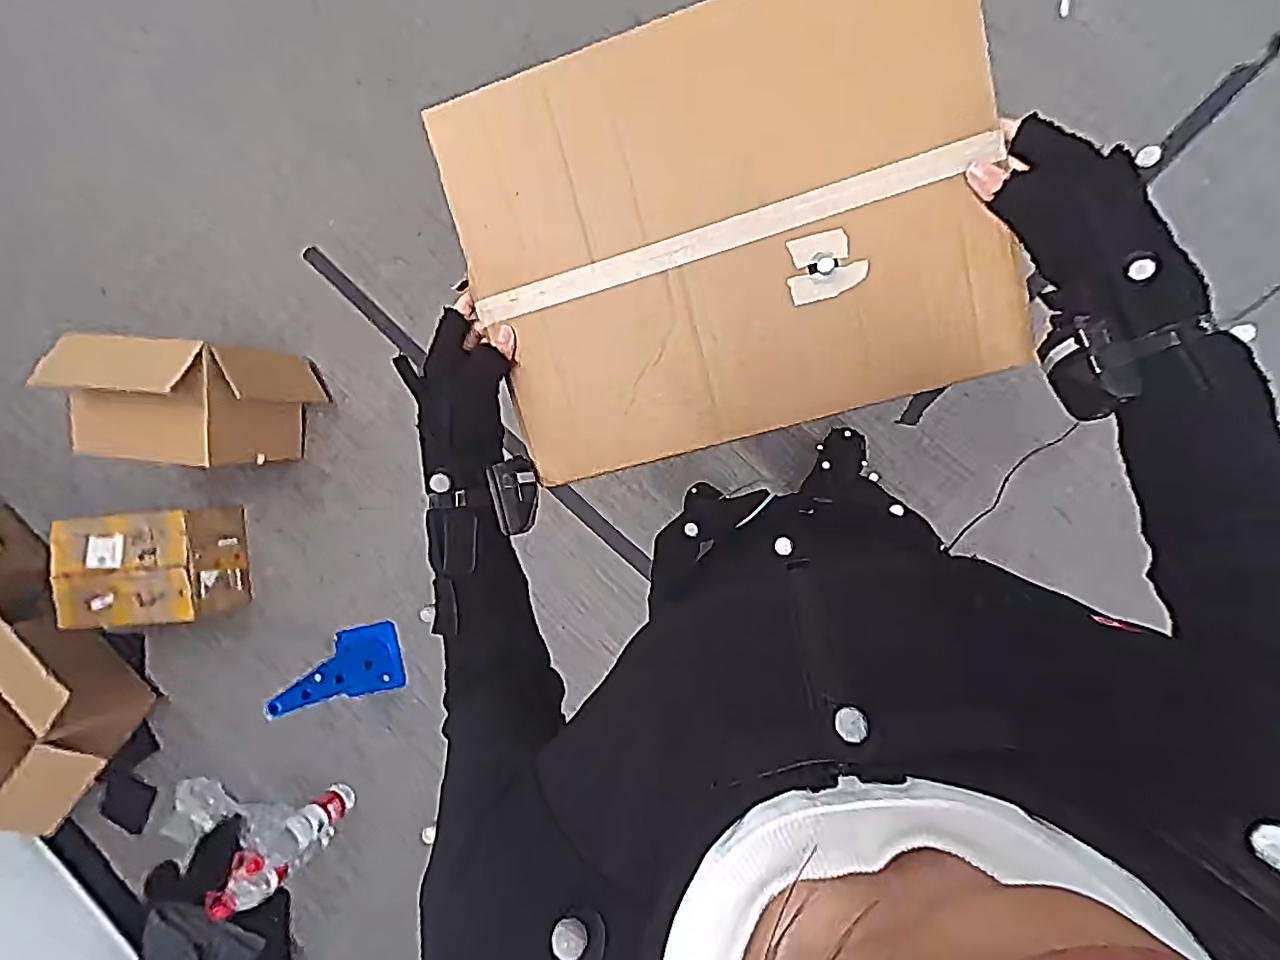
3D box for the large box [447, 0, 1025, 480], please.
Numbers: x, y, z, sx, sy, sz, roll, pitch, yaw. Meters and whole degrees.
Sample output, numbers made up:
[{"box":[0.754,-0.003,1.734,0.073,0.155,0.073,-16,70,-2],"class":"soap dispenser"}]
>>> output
[{"box":[0.085,-0.220,0.573,0.408,0.320,0.320,-14,100,8],"class":"large box"}]
